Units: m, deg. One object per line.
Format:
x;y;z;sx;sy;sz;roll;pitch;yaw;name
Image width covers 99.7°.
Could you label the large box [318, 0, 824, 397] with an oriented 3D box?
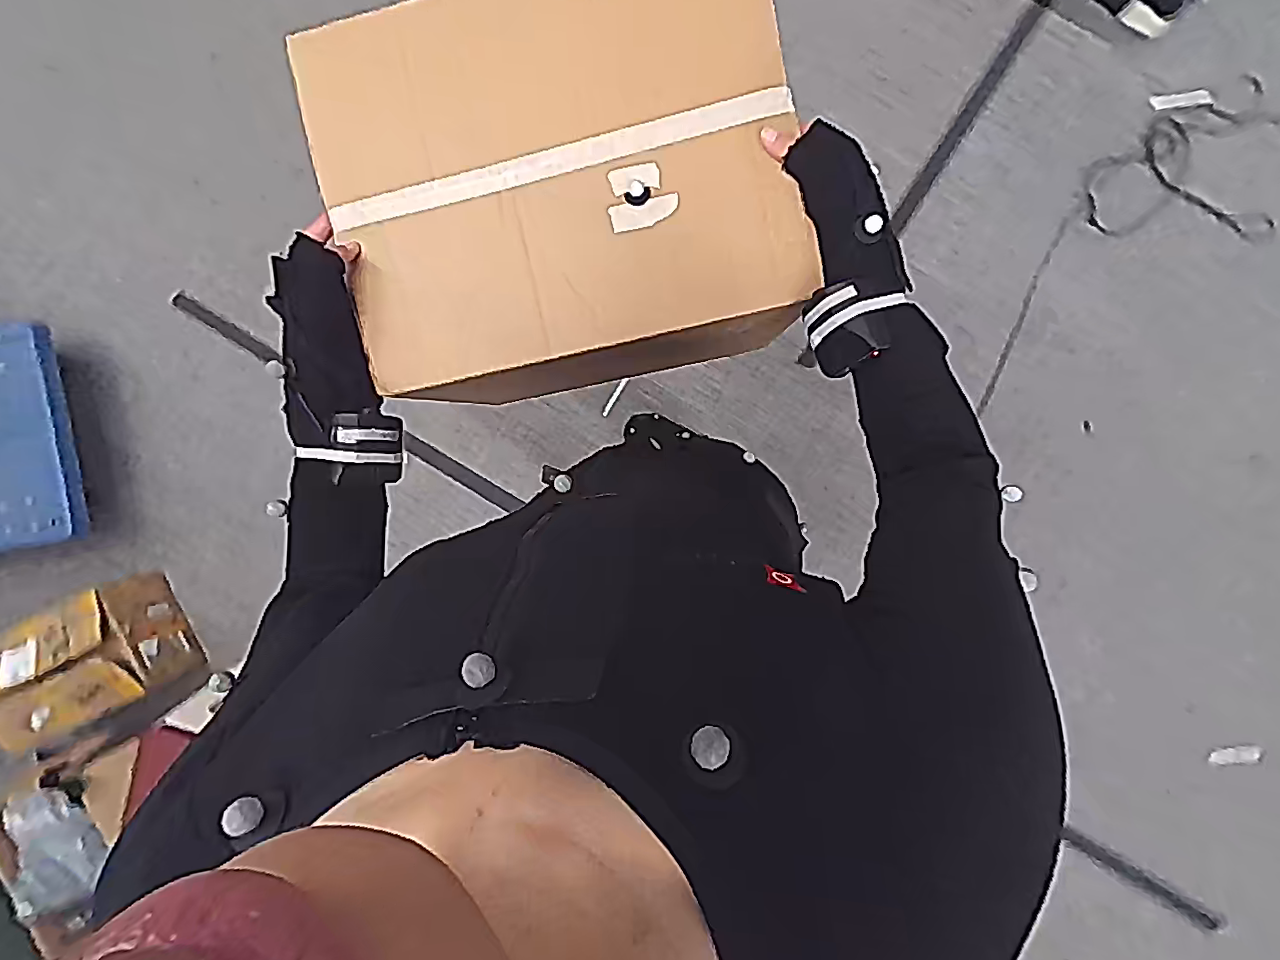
-0.053;-0.291;0.614;0.408;0.320;0.320;-10;96;5;large box
